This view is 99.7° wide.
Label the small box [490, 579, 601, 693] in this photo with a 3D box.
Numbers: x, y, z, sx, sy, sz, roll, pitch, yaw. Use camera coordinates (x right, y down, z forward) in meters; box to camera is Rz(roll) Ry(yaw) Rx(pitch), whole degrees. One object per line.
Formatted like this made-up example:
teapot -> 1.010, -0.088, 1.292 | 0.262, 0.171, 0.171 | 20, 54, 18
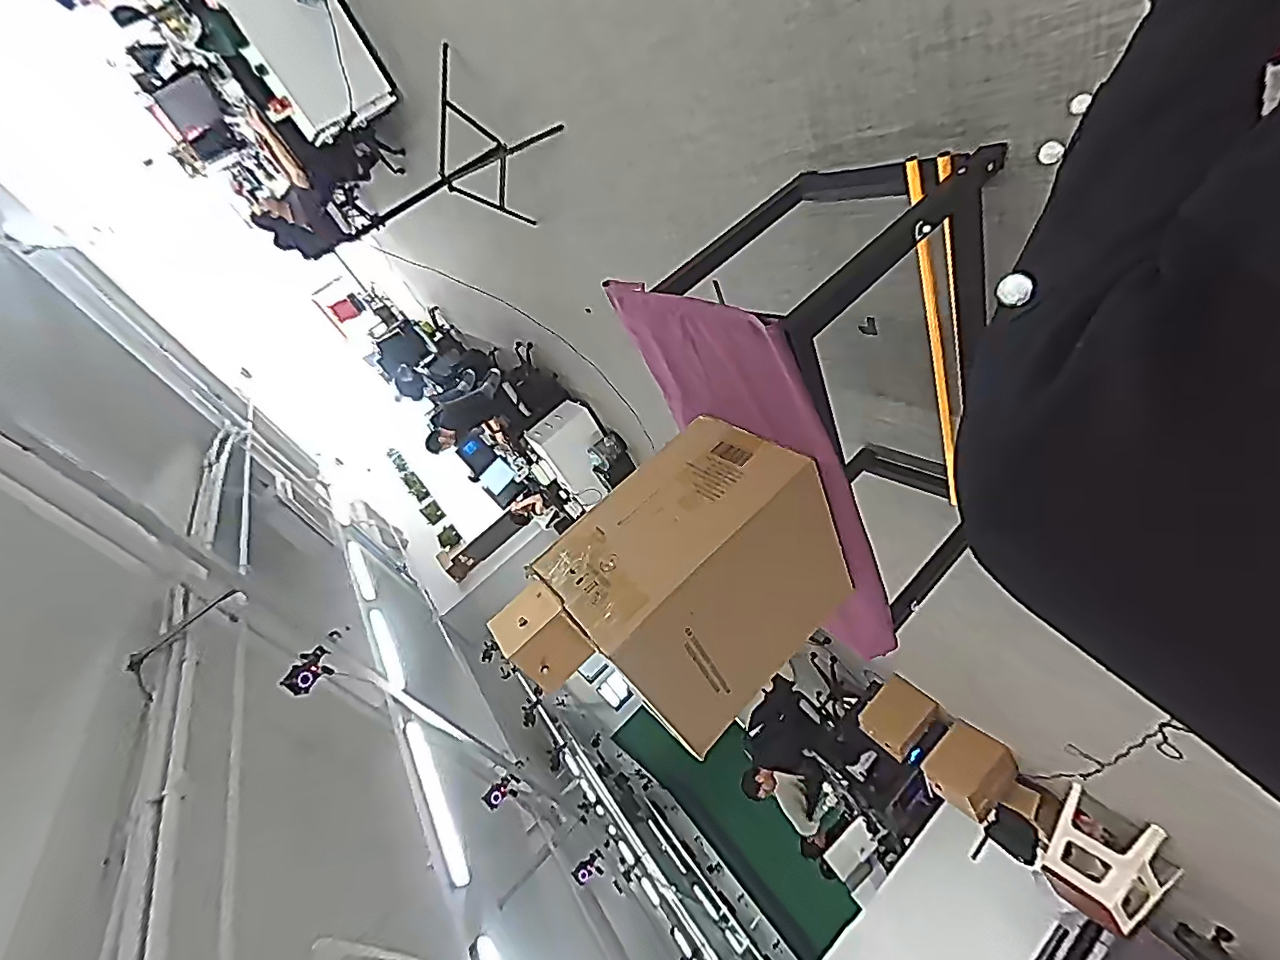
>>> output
small box -> -0.230, 0.375, 1.330 | 0.168, 0.176, 0.179 | 29, 158, 54
